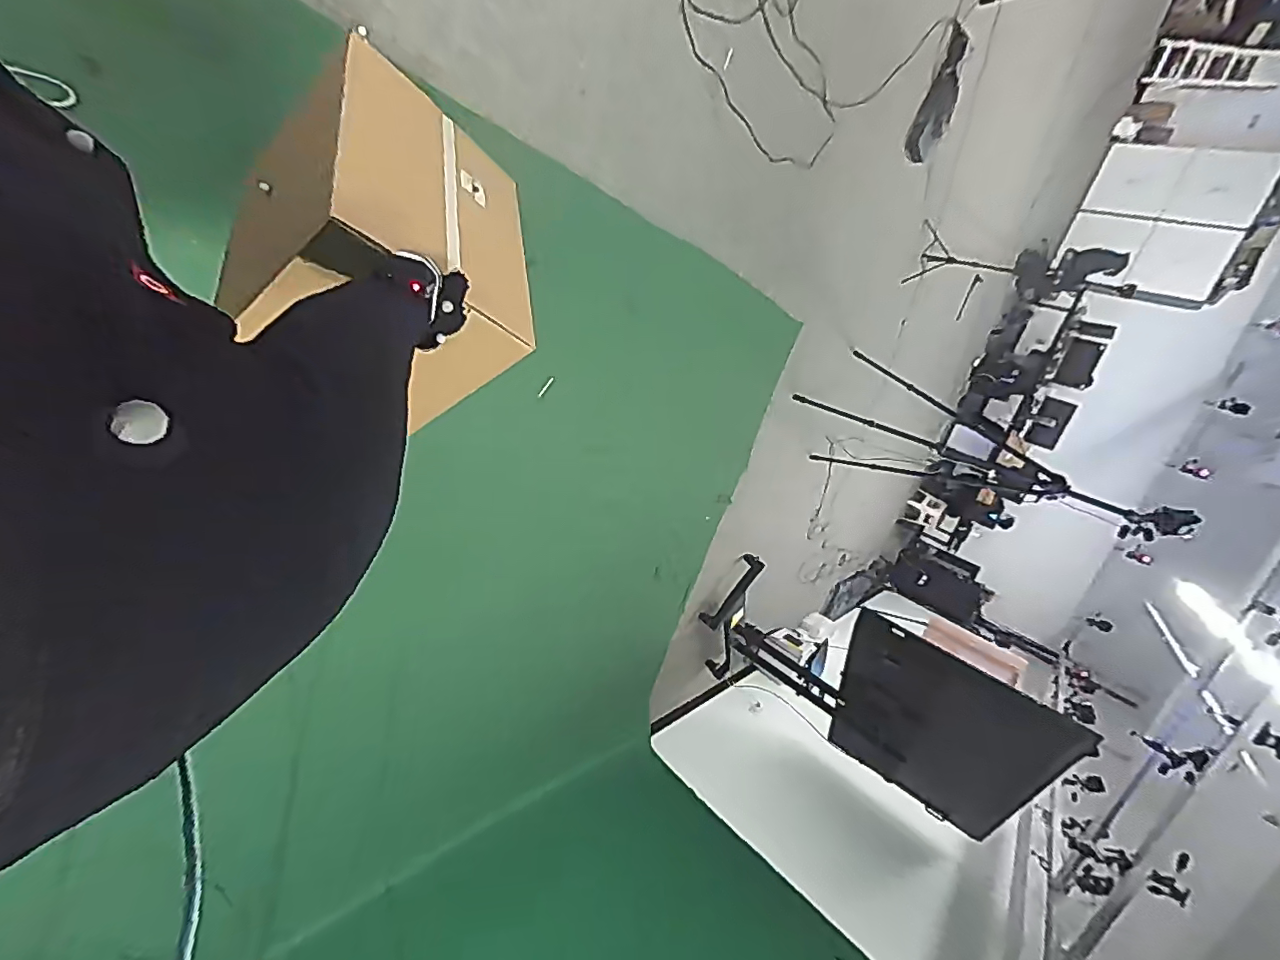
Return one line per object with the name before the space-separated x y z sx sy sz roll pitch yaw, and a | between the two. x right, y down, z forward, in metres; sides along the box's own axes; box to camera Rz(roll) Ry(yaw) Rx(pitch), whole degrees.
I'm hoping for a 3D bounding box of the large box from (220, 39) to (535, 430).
large box | -0.404 -0.353 0.863 0.320 0.408 0.320 -26 150 25
